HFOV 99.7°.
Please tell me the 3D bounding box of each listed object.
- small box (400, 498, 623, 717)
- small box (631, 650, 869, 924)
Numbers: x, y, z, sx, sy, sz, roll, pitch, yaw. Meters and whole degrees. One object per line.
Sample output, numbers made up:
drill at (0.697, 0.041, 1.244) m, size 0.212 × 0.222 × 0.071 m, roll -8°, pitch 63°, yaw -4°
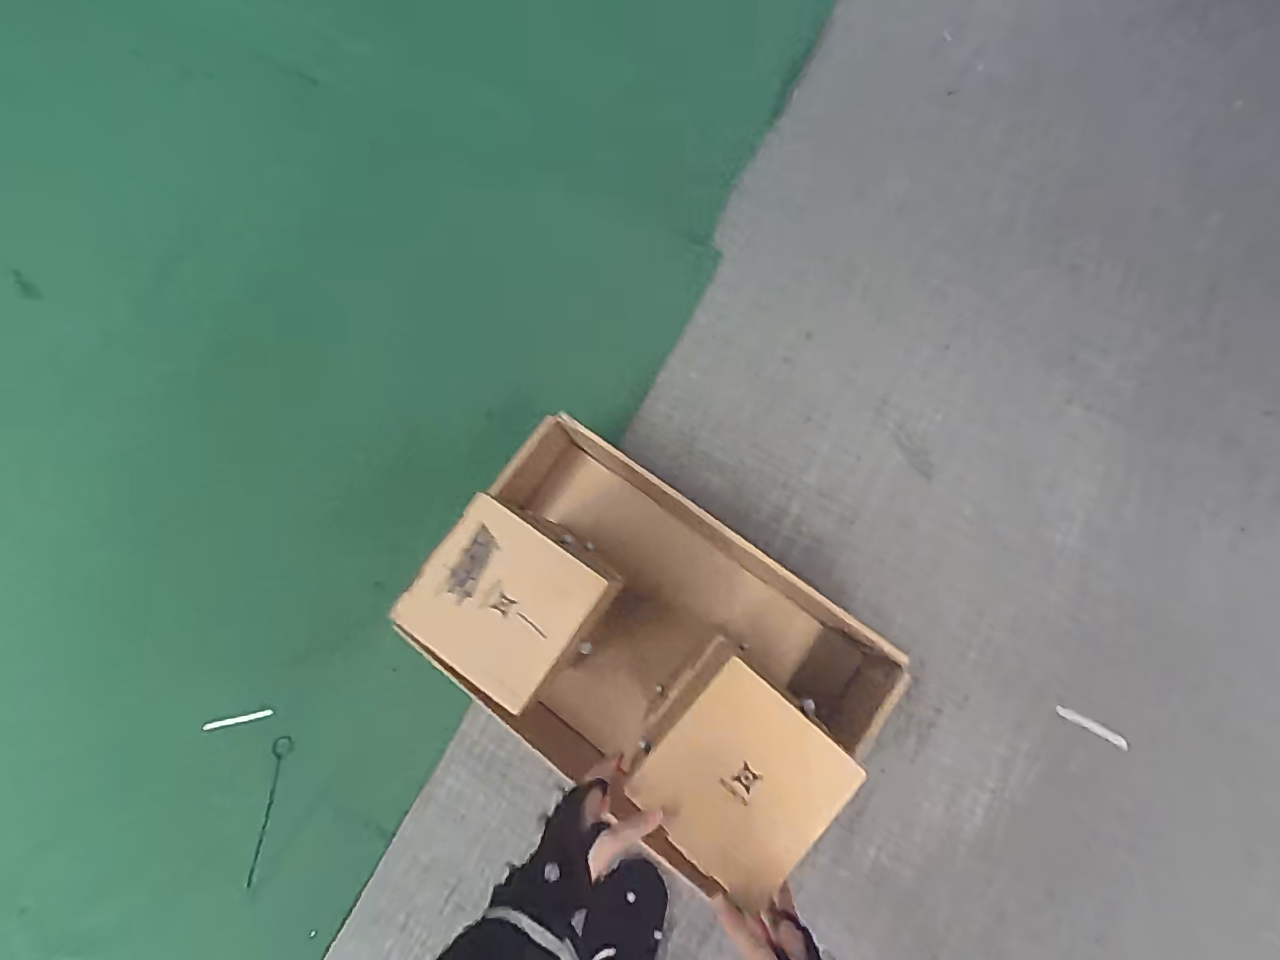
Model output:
small box at (-0.138, 0.148, 0.651) m, size 0.179 × 0.176 × 0.168 m, roll 35°, pitch 82°, yaw 9°
small box at (0.111, 0.314, 0.603) m, size 0.168 × 0.176 × 0.179 m, roll 41°, pitch 86°, yaw 11°
